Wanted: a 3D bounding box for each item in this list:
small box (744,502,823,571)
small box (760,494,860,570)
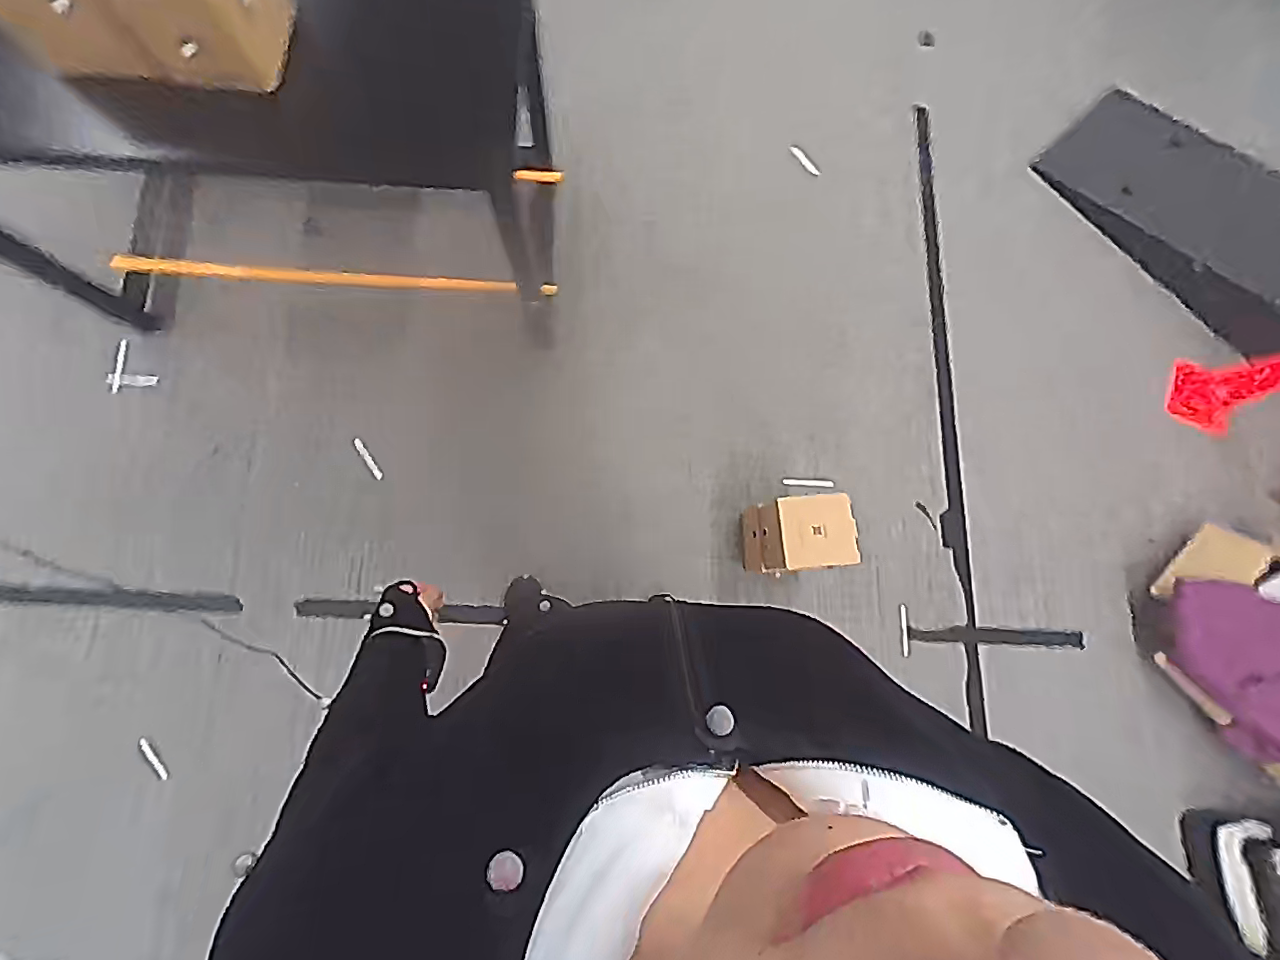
[{"bbox_3d":[0.384,0.158,1.476,0.168,0.176,0.179,-1,80,-3],"label":"small box"},{"bbox_3d":[0.405,0.130,1.316,0.179,0.176,0.168,-4,79,-3],"label":"small box"}]
